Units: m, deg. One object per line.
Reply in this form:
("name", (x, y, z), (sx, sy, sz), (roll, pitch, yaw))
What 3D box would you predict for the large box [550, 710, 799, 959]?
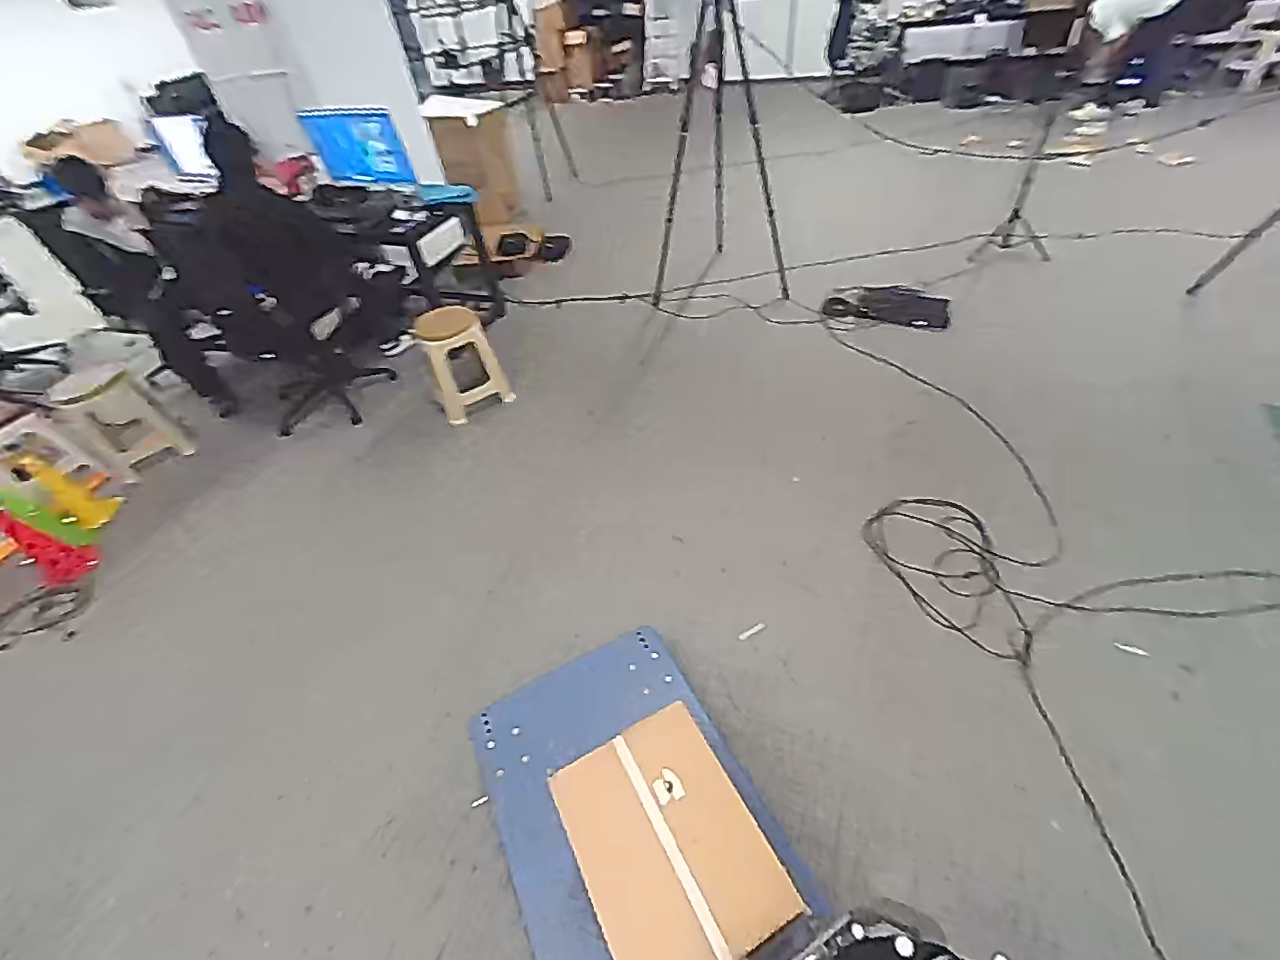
("large box", (0.062, 0.772, 1.094), (0.320, 0.320, 0.408), (-24, 45, -16))
